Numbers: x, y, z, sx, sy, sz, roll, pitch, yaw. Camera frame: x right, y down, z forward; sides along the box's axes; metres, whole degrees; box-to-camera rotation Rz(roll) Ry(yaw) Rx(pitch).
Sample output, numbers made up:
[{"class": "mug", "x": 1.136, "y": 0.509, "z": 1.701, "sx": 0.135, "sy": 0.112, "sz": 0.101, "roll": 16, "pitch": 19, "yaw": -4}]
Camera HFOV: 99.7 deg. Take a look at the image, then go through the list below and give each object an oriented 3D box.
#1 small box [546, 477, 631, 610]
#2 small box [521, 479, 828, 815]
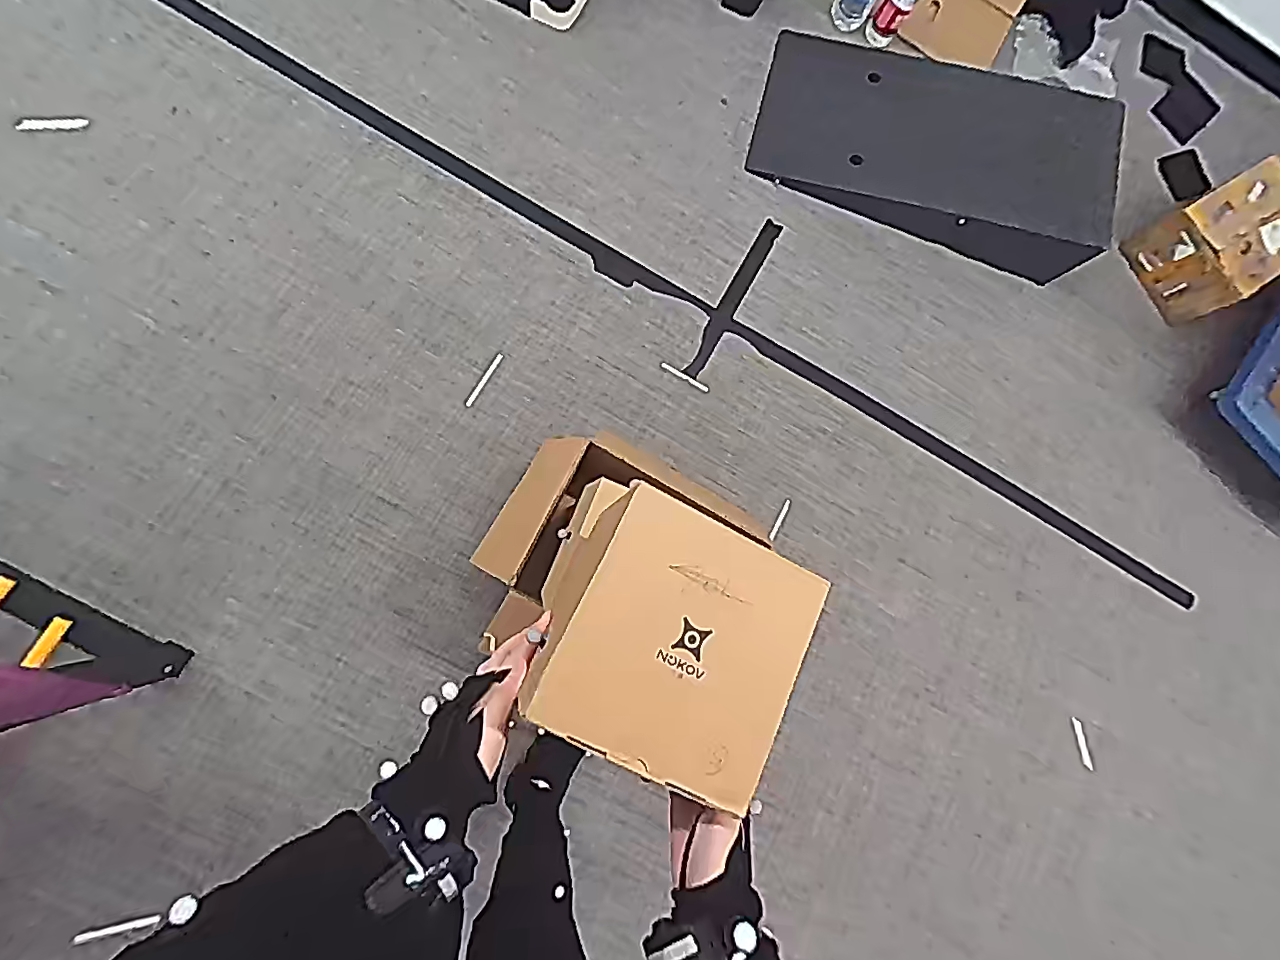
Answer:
[{"class": "small box", "x": -0.011, "y": 0.110, "z": 0.690, "sx": 0.179, "sy": 0.176, "sz": 0.168, "roll": 24, "pitch": 82, "yaw": -10}, {"class": "small box", "x": 0.016, "y": 0.126, "z": 0.448, "sx": 0.168, "sy": 0.176, "sz": 0.179, "roll": 29, "pitch": 74, "yaw": -7}]
